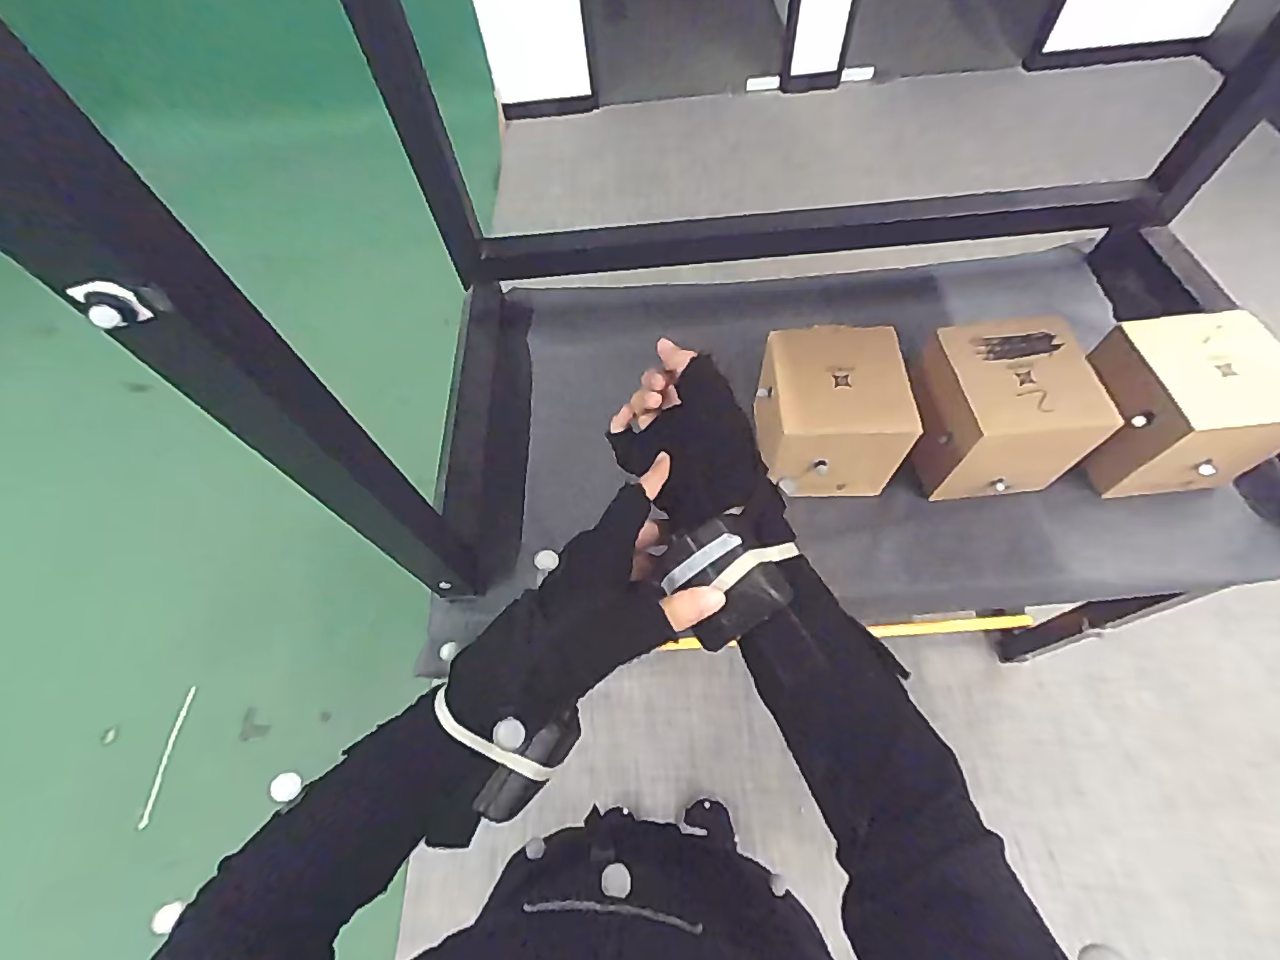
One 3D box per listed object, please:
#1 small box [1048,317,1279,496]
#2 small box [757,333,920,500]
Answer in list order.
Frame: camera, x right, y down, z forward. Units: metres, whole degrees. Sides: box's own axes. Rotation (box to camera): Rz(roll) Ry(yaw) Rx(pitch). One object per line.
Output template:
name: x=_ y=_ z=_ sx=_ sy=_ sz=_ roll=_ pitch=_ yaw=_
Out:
small box: x=0.710 y=-0.088 z=0.727 sx=0.168 sy=0.176 sz=0.179 roll=-6 pitch=59 yaw=0
small box: x=0.263 y=-0.081 z=0.761 sx=0.168 sy=0.176 sz=0.179 roll=-1 pitch=60 yaw=4
